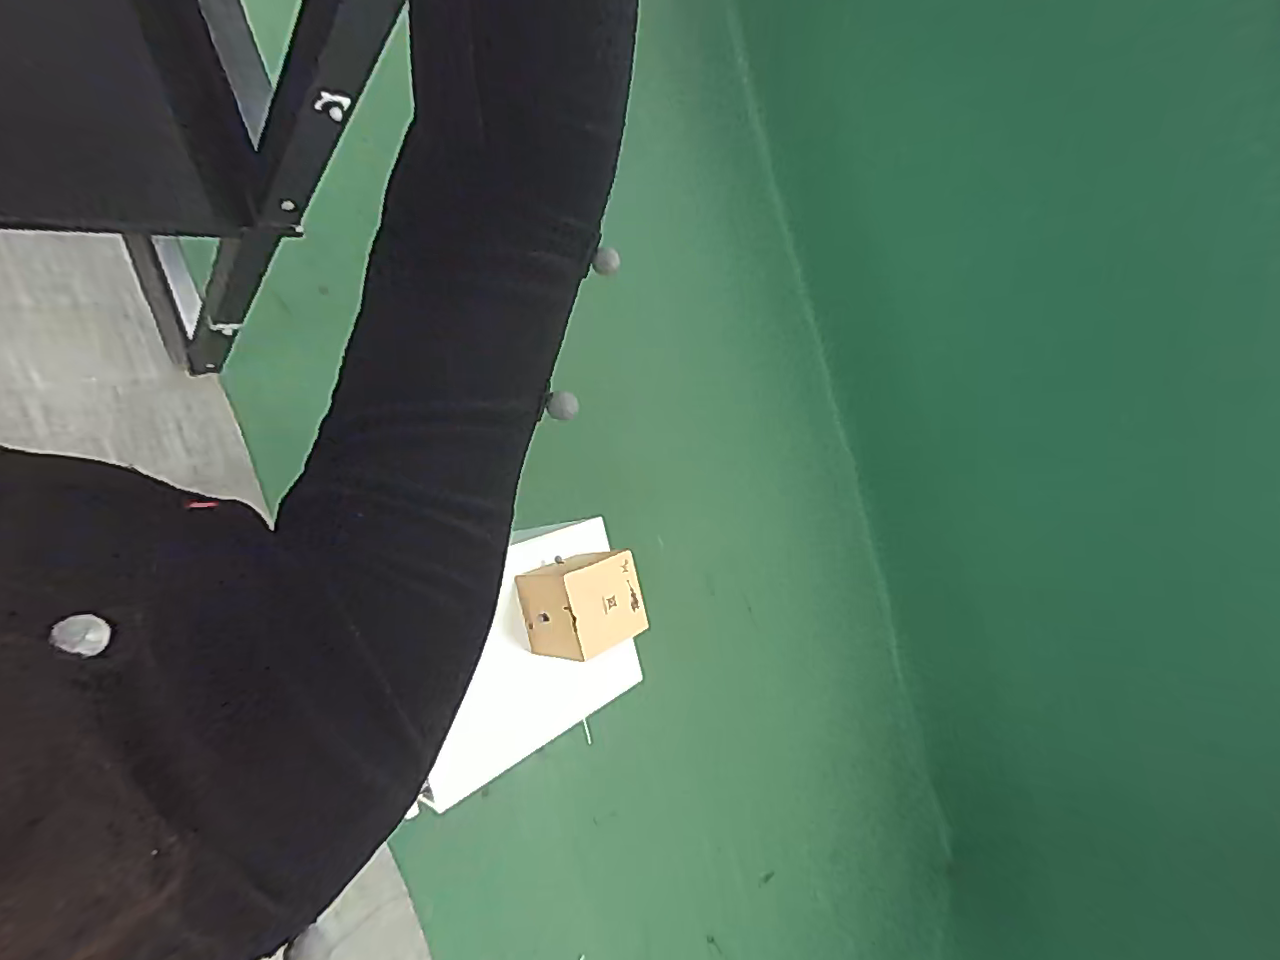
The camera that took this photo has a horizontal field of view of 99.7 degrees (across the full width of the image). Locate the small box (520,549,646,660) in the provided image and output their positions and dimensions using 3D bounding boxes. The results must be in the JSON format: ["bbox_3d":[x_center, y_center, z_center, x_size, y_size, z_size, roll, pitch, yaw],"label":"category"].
[{"bbox_3d":[-0.119,0.240,1.073,0.179,0.176,0.168,-15,93,-44],"label":"small box"}]
